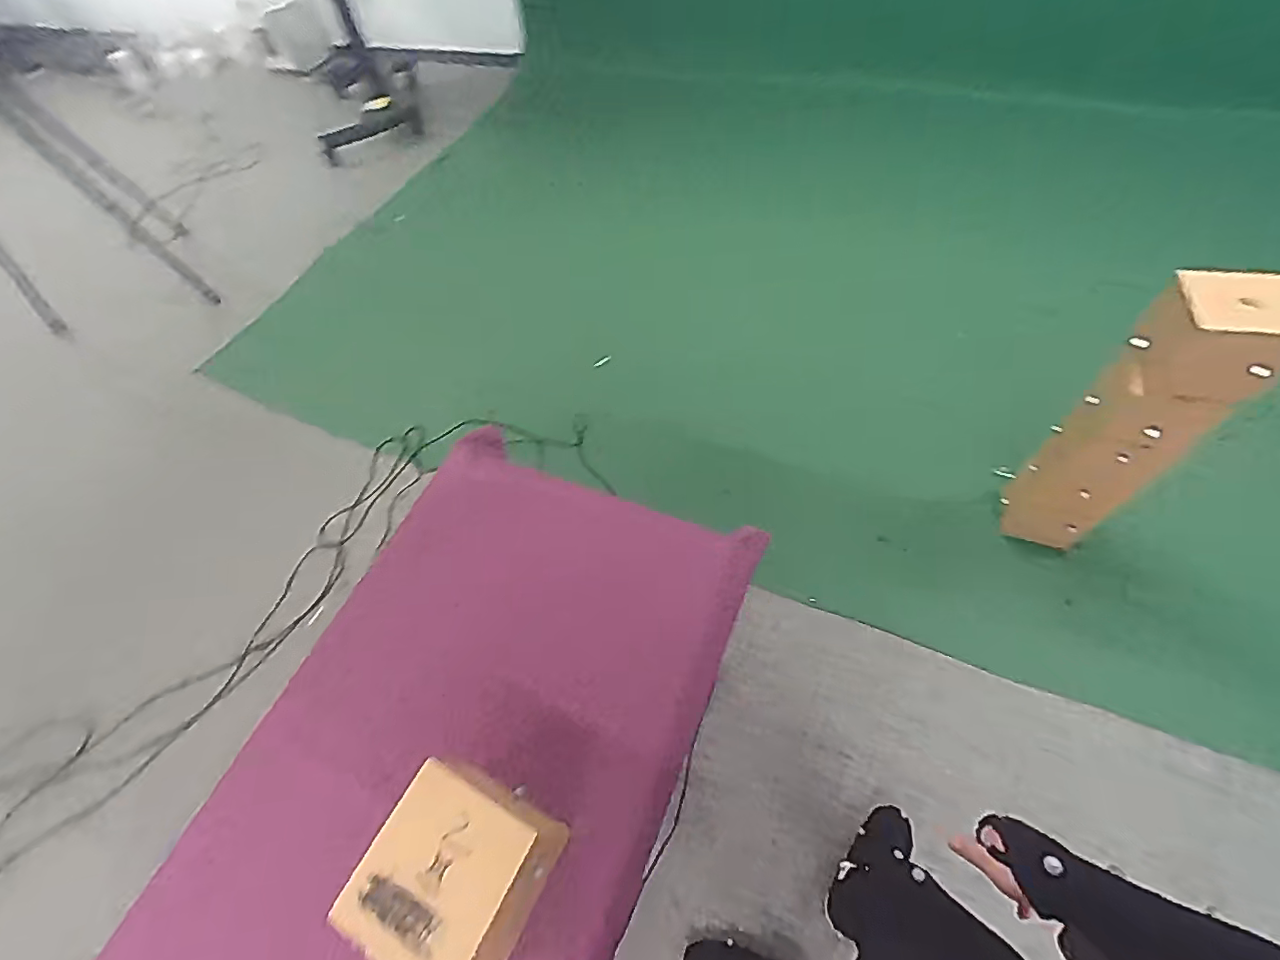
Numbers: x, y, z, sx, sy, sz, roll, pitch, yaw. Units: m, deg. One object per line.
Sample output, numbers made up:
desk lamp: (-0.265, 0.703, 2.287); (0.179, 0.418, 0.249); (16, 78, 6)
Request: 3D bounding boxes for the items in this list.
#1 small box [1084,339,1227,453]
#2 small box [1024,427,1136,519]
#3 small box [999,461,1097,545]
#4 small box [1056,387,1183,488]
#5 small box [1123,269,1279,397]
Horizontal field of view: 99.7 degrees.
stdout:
small box: (1.100, -0.183, 1.168); (0.168, 0.176, 0.179); (16, 63, 18)
small box: (1.165, -0.014, 1.441); (0.179, 0.176, 0.168); (15, 61, 17)
small box: (1.184, 0.072, 1.577); (0.179, 0.176, 0.168); (14, 61, 16)
small box: (1.139, -0.101, 1.305); (0.179, 0.176, 0.168); (13, 61, 16)
small box: (1.089, -0.278, 1.035); (0.179, 0.176, 0.168); (8, 59, 15)
